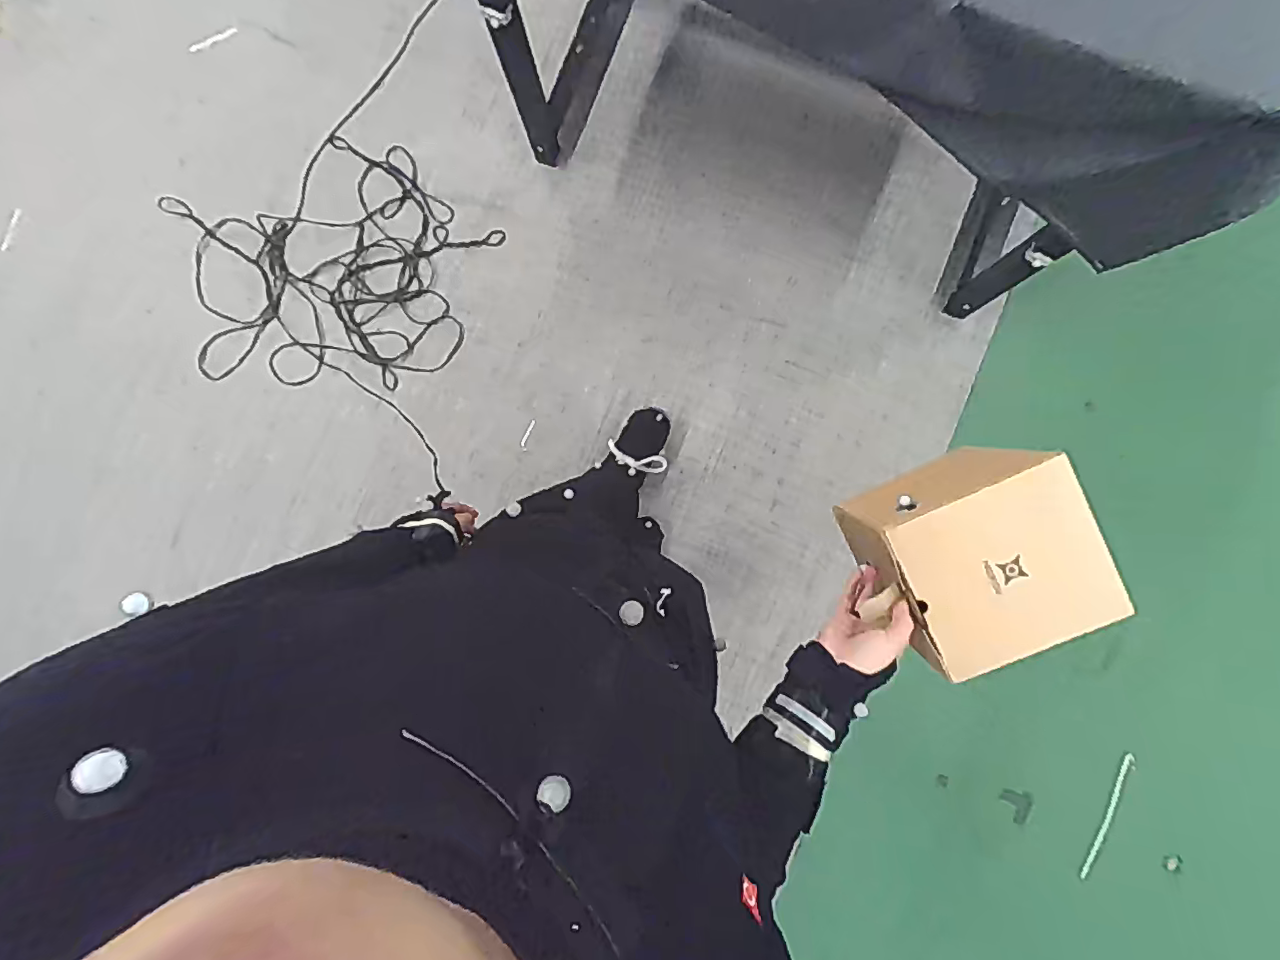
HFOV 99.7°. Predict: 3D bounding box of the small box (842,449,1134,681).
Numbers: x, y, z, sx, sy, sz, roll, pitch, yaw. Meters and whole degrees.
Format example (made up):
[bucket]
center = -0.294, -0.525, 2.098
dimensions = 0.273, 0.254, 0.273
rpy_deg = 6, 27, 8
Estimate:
[small box]
center = 0.348, 0.074, 0.577
dimensions = 0.179, 0.176, 0.168
rpy_deg = -25, 93, 7
